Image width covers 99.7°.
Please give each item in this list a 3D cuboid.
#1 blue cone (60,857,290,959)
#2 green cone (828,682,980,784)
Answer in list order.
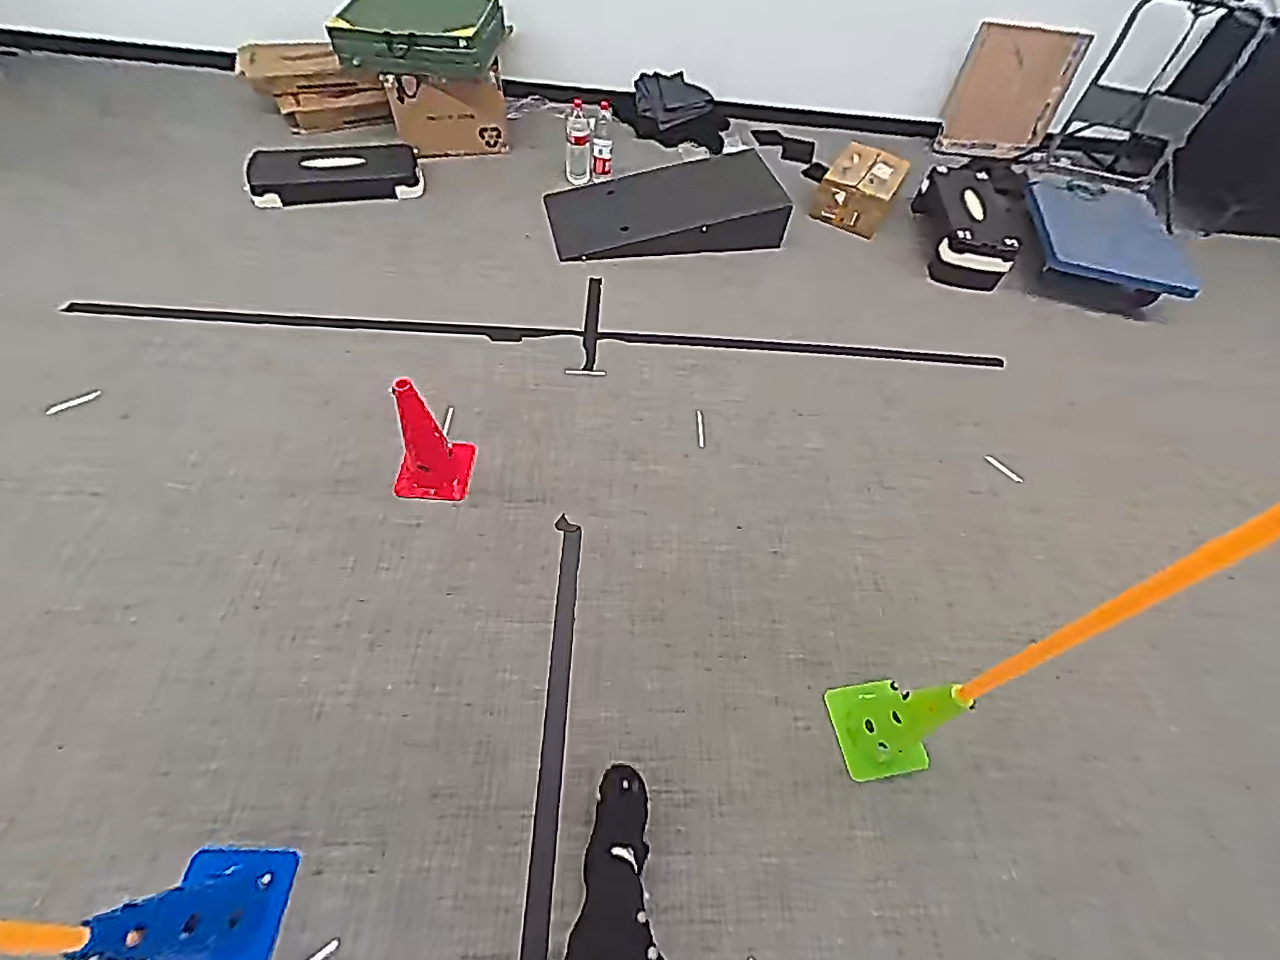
[{"bbox_3d":[-0.745,0.713,0.850,0.193,0.380,0.192,5,56,-2],"label":"blue cone"},{"bbox_3d":[0.574,0.496,1.127,0.200,0.368,0.202,-6,58,-10],"label":"green cone"}]
